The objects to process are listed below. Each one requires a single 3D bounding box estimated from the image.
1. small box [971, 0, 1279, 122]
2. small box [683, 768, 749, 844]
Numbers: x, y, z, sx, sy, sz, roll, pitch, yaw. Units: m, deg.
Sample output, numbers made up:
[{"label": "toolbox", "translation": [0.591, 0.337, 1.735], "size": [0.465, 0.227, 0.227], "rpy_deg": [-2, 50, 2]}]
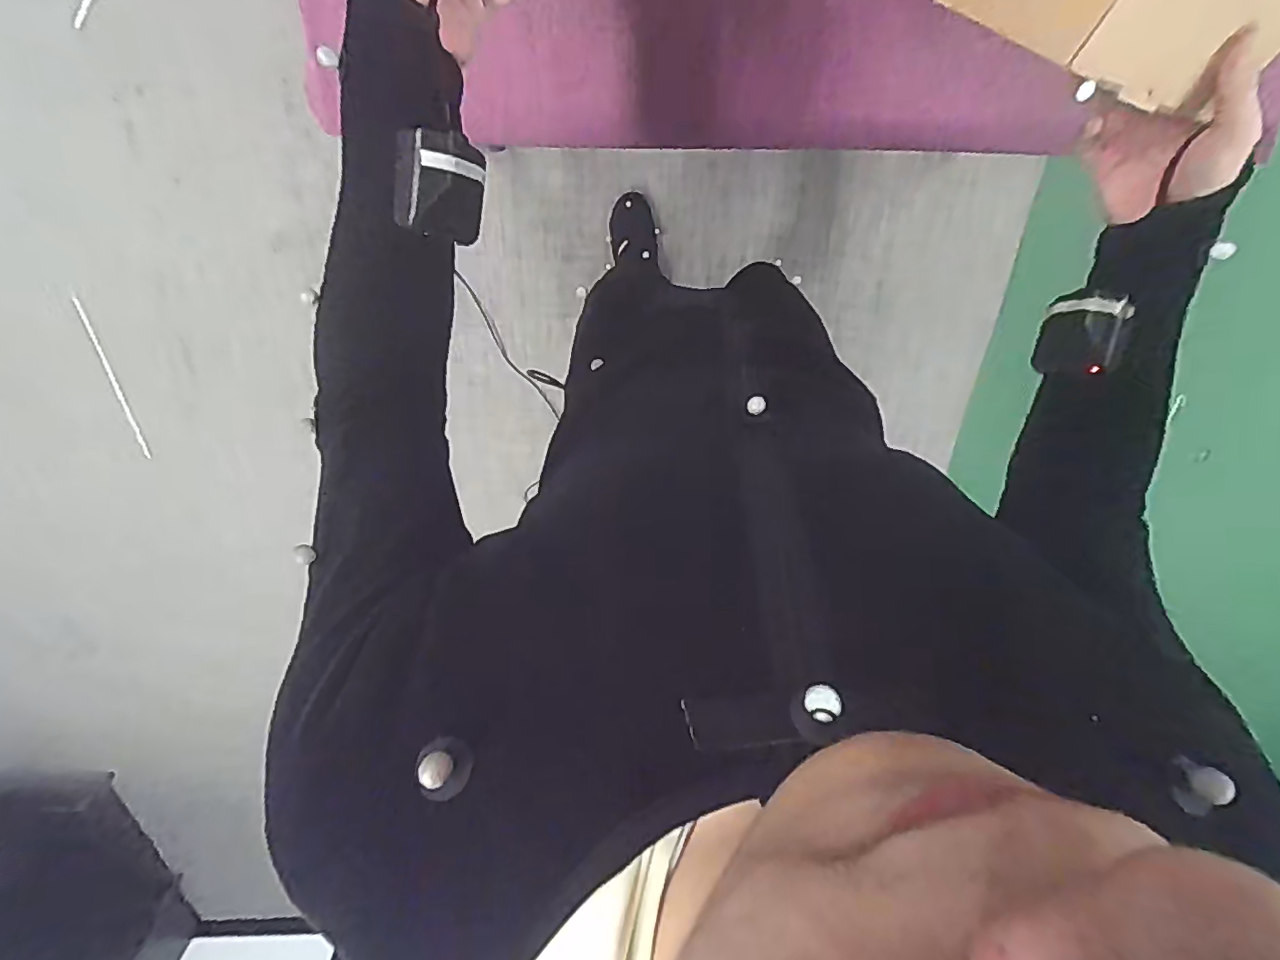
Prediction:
[{"label": "small box", "translation": [0.355, -0.380, 0.352], "size": [0.168, 0.176, 0.179], "rpy_deg": [1, 141, -21]}, {"label": "small box", "translation": [0.256, 1.120, 1.860], "size": [0.179, 0.176, 0.168], "rpy_deg": [7, 118, -6]}]
